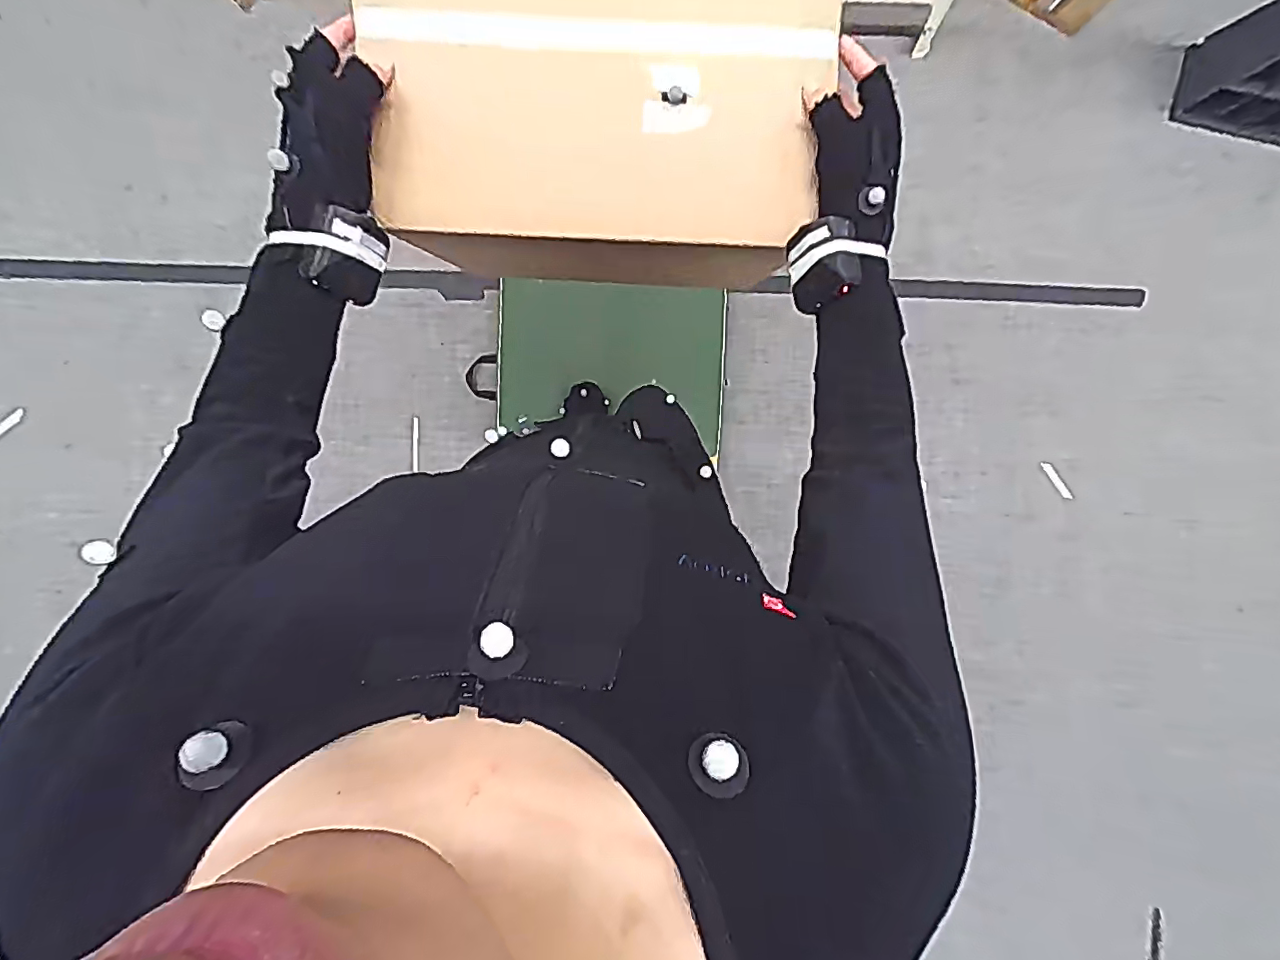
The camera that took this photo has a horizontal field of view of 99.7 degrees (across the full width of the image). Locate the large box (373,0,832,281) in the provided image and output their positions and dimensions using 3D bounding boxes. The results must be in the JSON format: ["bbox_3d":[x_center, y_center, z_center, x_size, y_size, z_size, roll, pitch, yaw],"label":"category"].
[{"bbox_3d":[-0.037,-0.414,0.618,0.408,0.320,0.320,1,103,-2],"label":"large box"}]
